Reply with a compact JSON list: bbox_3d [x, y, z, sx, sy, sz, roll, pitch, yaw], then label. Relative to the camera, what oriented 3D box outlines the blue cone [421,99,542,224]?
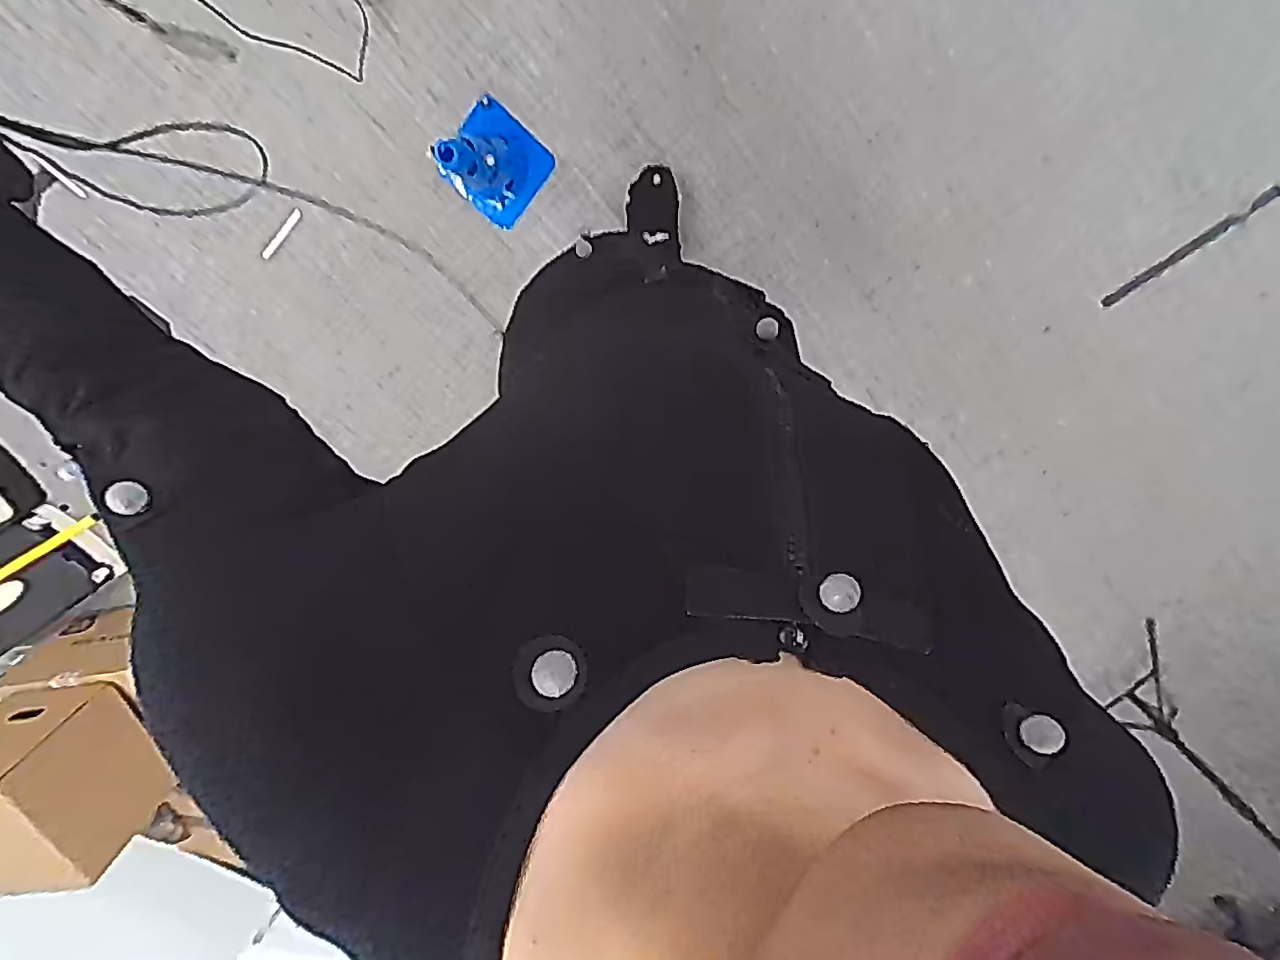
[{"bbox_3d":[-0.331,-0.624,1.052,0.192,0.380,0.193,40,110,-17],"label":"blue cone"}]
